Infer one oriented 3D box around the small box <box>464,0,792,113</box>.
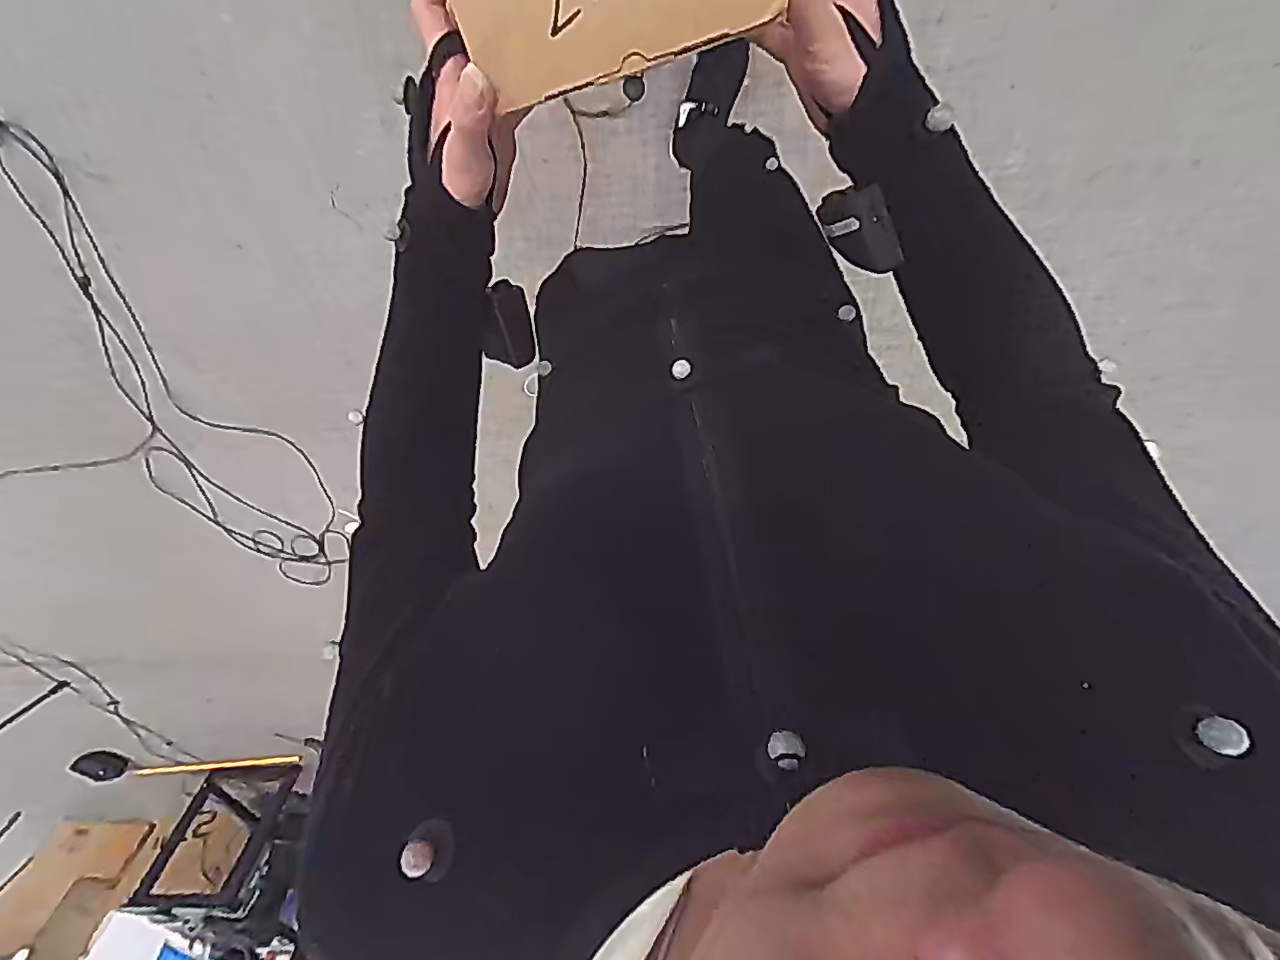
[{"bbox_3d":[-0.021,-0.335,0.306,0.168,0.176,0.179,-12,127,8],"label":"small box"}]
